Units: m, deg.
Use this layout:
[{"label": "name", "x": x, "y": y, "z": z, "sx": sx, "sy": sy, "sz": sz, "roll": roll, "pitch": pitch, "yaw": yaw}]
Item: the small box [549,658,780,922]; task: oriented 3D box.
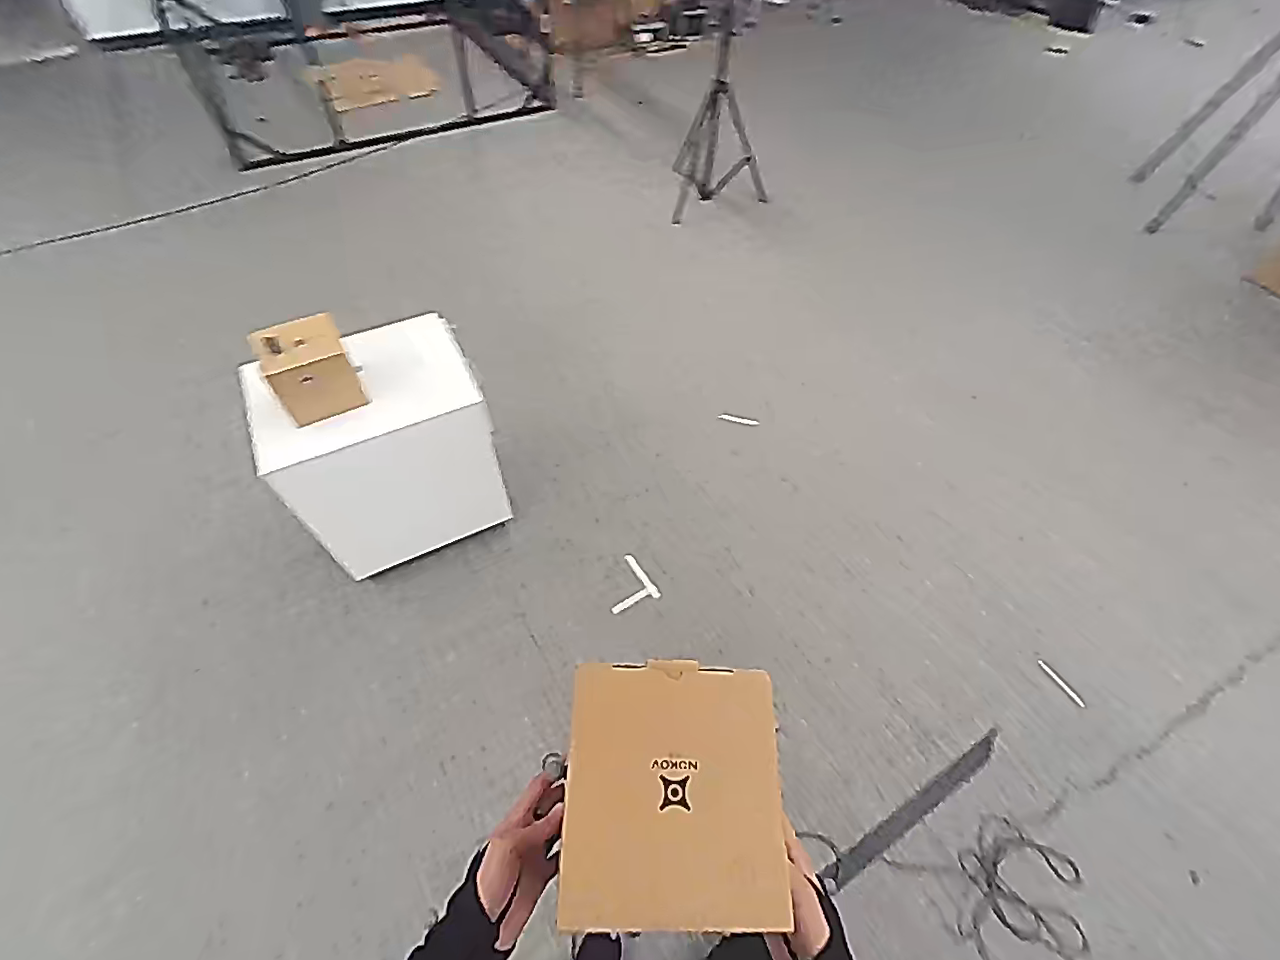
[{"label": "small box", "x": 0.011, "y": 0.269, "z": 0.485, "sx": 0.168, "sy": 0.176, "sz": 0.179, "roll": 3, "pitch": 58, "yaw": -6}]

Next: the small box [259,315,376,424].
[{"label": "small box", "x": -0.769, "y": -0.261, "z": 1.298, "sx": 0.179, "sy": 0.176, "sz": 0.168, "roll": -24, "pitch": 59, "yaw": -20}]
